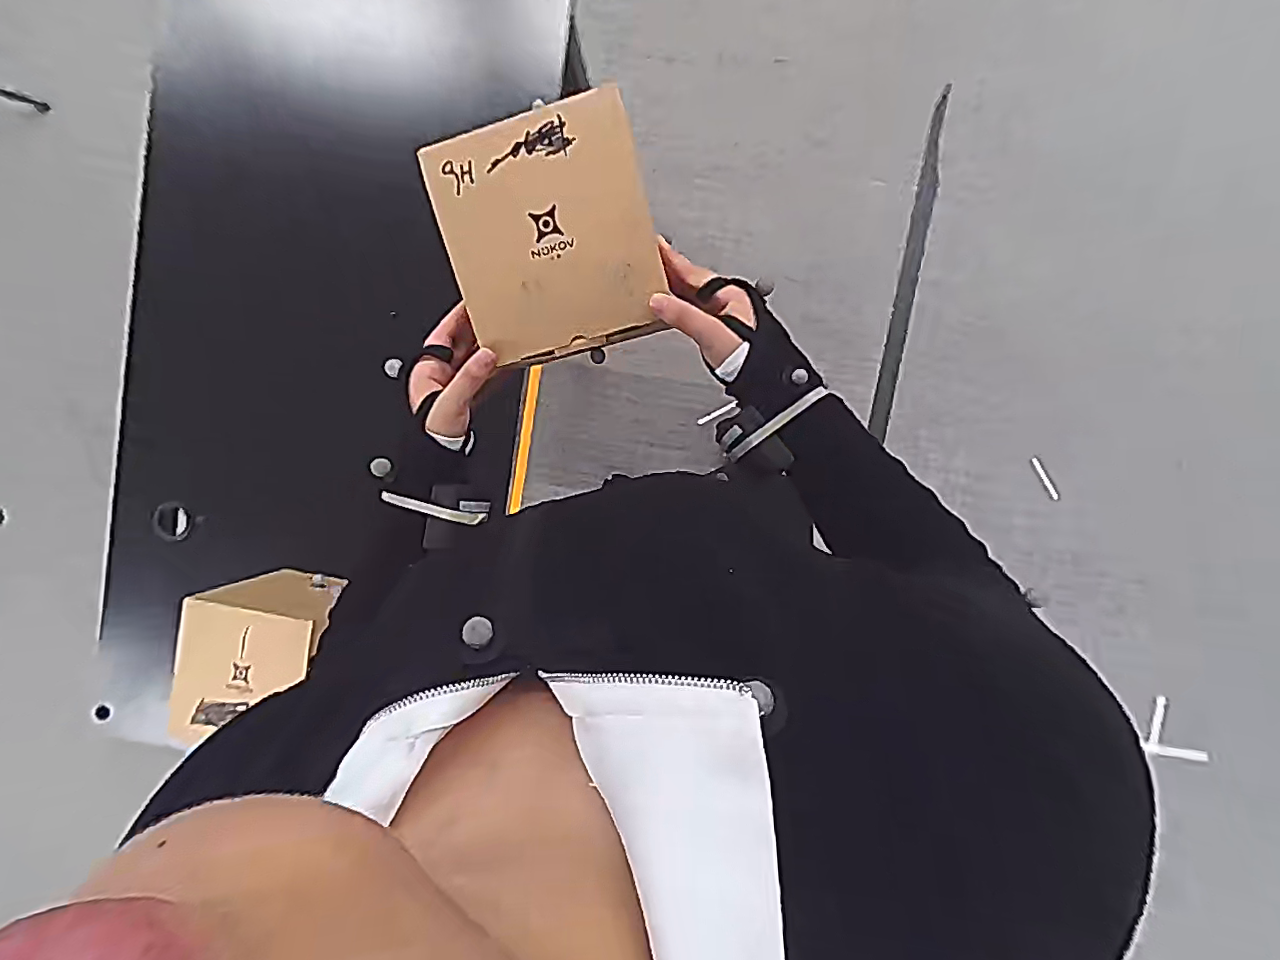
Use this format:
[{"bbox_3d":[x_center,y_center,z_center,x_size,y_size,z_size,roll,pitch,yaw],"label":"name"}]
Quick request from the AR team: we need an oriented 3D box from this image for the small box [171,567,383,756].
[{"bbox_3d":[-0.474,0.231,0.730,0.168,0.176,0.179,9,92,3],"label":"small box"}]

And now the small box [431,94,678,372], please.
[{"bbox_3d":[-0.060,-0.212,0.510,0.168,0.176,0.179,-13,104,7],"label":"small box"}]
